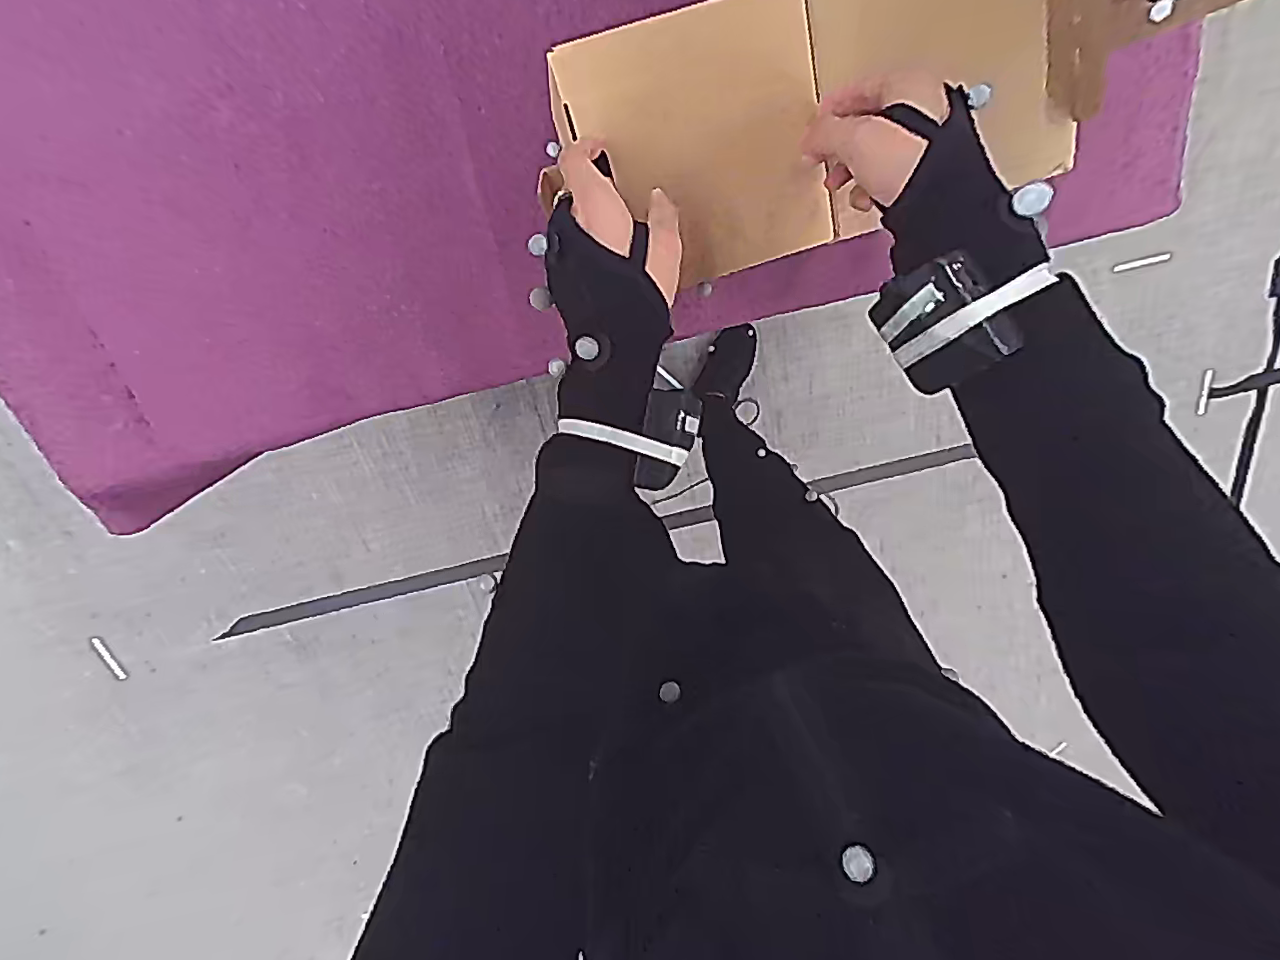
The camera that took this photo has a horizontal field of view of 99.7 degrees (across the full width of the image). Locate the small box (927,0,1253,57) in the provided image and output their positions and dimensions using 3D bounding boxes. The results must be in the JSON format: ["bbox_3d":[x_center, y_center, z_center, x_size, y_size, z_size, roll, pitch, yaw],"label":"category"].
[{"bbox_3d":[0.366,-0.459,0.409,0.179,0.176,0.168,9,110,-11],"label":"small box"}]
